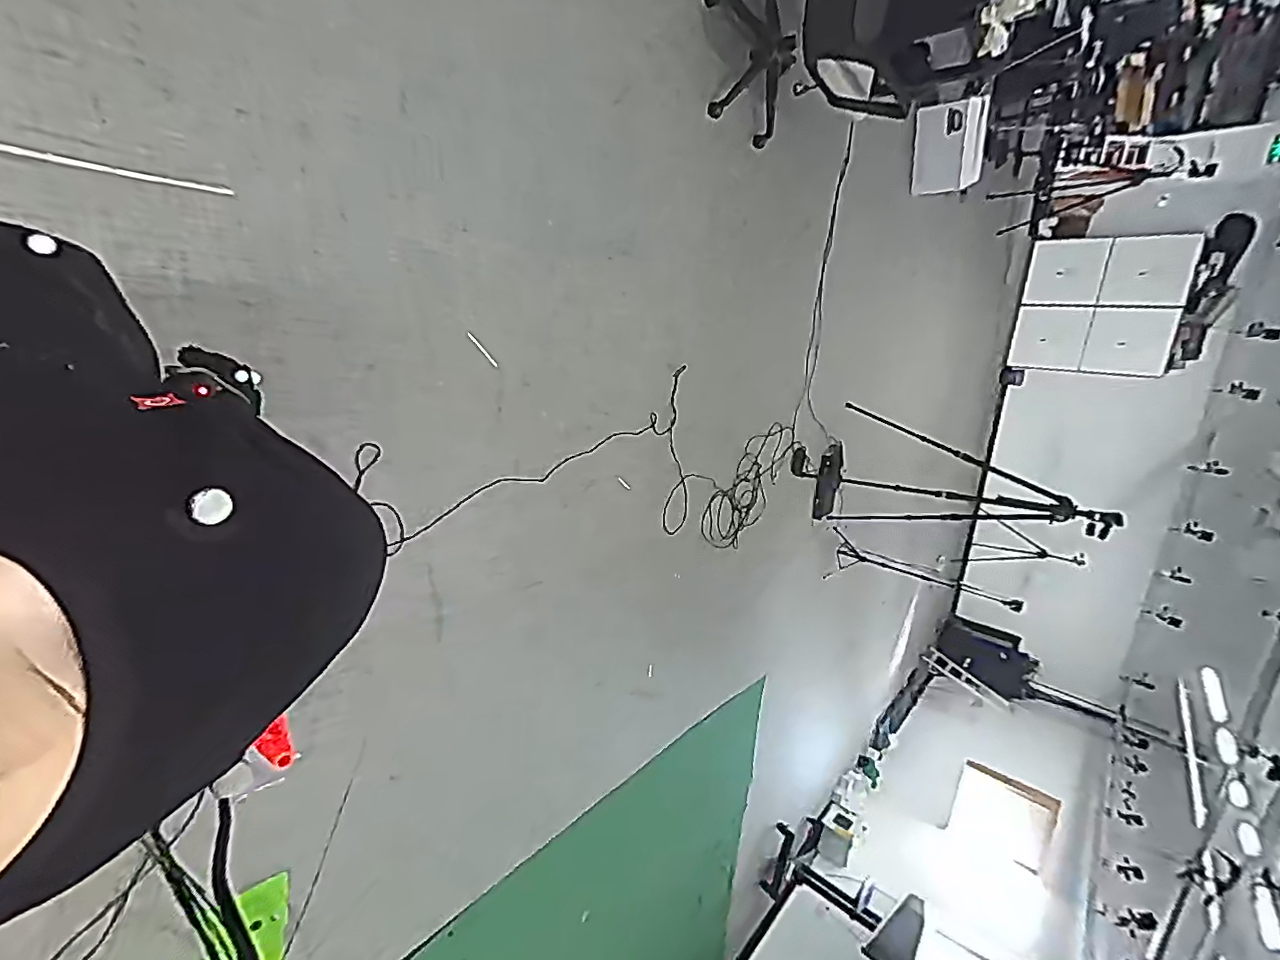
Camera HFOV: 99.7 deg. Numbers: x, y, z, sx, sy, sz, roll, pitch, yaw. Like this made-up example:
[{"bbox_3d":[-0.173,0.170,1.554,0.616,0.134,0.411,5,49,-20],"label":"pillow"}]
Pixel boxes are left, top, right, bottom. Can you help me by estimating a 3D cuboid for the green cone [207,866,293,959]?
[{"bbox_3d":[-0.980,1.271,1.437,0.200,0.368,0.202,-9,108,-48],"label":"green cone"}]
